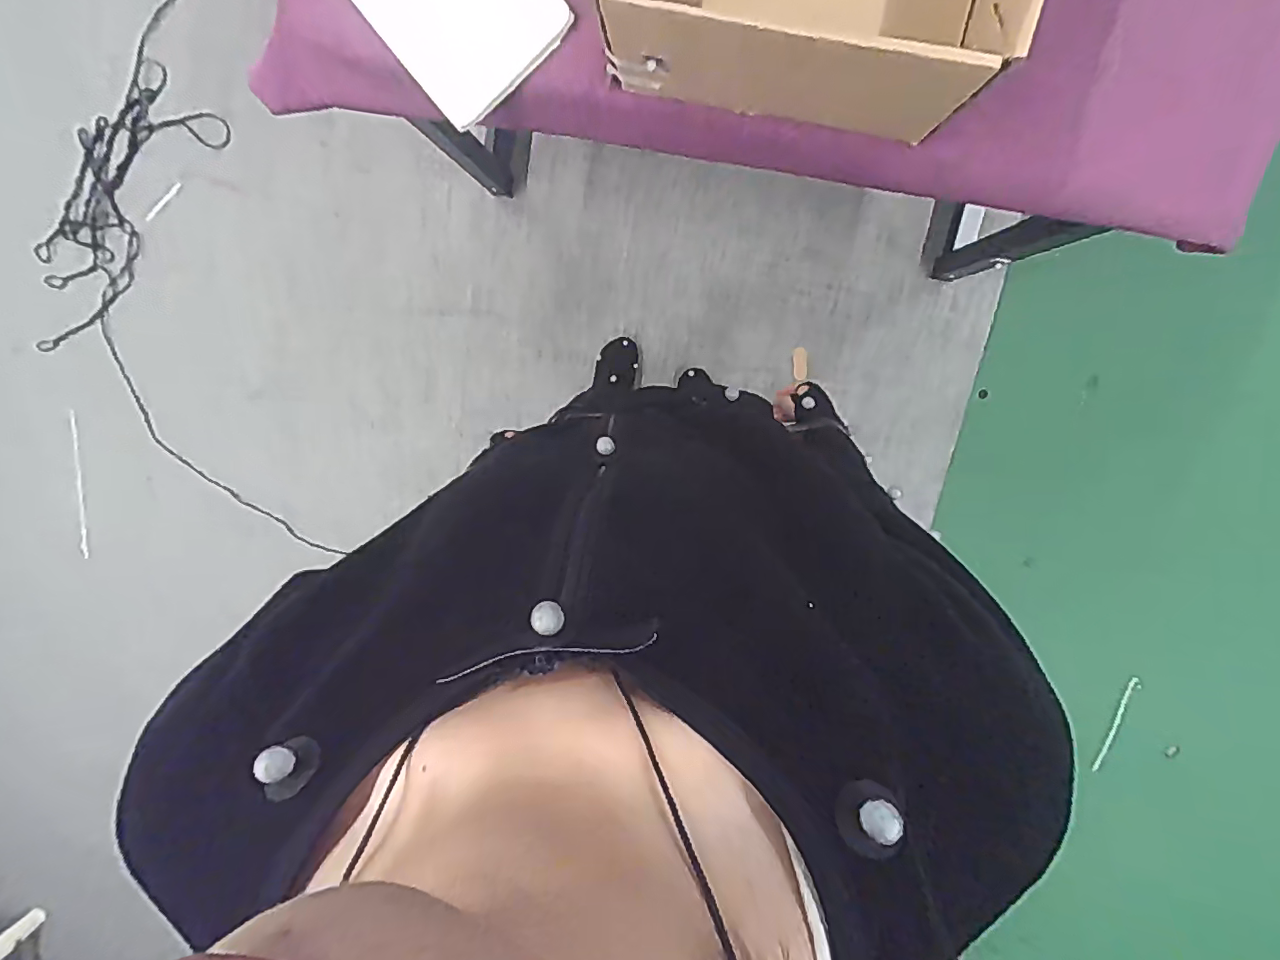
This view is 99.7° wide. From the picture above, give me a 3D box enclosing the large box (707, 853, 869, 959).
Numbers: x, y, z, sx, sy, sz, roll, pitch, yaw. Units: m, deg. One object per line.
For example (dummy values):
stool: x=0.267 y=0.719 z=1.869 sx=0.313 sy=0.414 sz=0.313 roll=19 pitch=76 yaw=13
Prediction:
large box: x=0.418 y=1.361 z=1.591 sx=0.408 sy=0.320 sz=0.320 roll=-4 pitch=102 yaw=4
